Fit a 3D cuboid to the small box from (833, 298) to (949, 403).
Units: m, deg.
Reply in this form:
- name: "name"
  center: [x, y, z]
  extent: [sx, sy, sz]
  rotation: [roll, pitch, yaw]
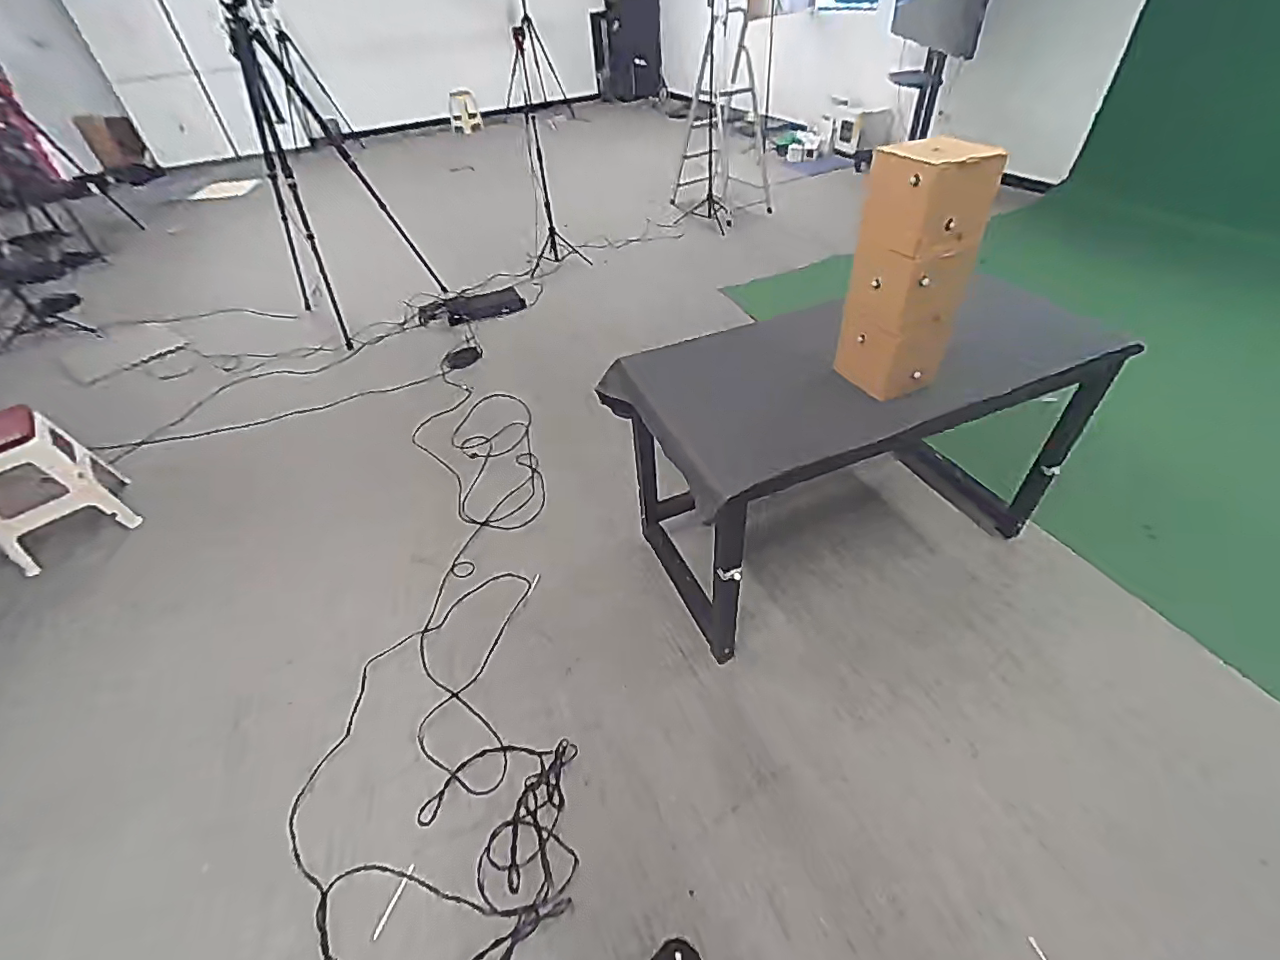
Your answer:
- name: "small box"
  center: [0.592, -0.311, 1.301]
  extent: [0.168, 0.176, 0.179]
  rotation: [-20, 45, -15]

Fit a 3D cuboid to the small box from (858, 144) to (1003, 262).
- name: "small box"
  center: [0.569, -0.558, 1.088]
  extent: [0.168, 0.176, 0.179]
  rotation: [-17, 44, -13]
